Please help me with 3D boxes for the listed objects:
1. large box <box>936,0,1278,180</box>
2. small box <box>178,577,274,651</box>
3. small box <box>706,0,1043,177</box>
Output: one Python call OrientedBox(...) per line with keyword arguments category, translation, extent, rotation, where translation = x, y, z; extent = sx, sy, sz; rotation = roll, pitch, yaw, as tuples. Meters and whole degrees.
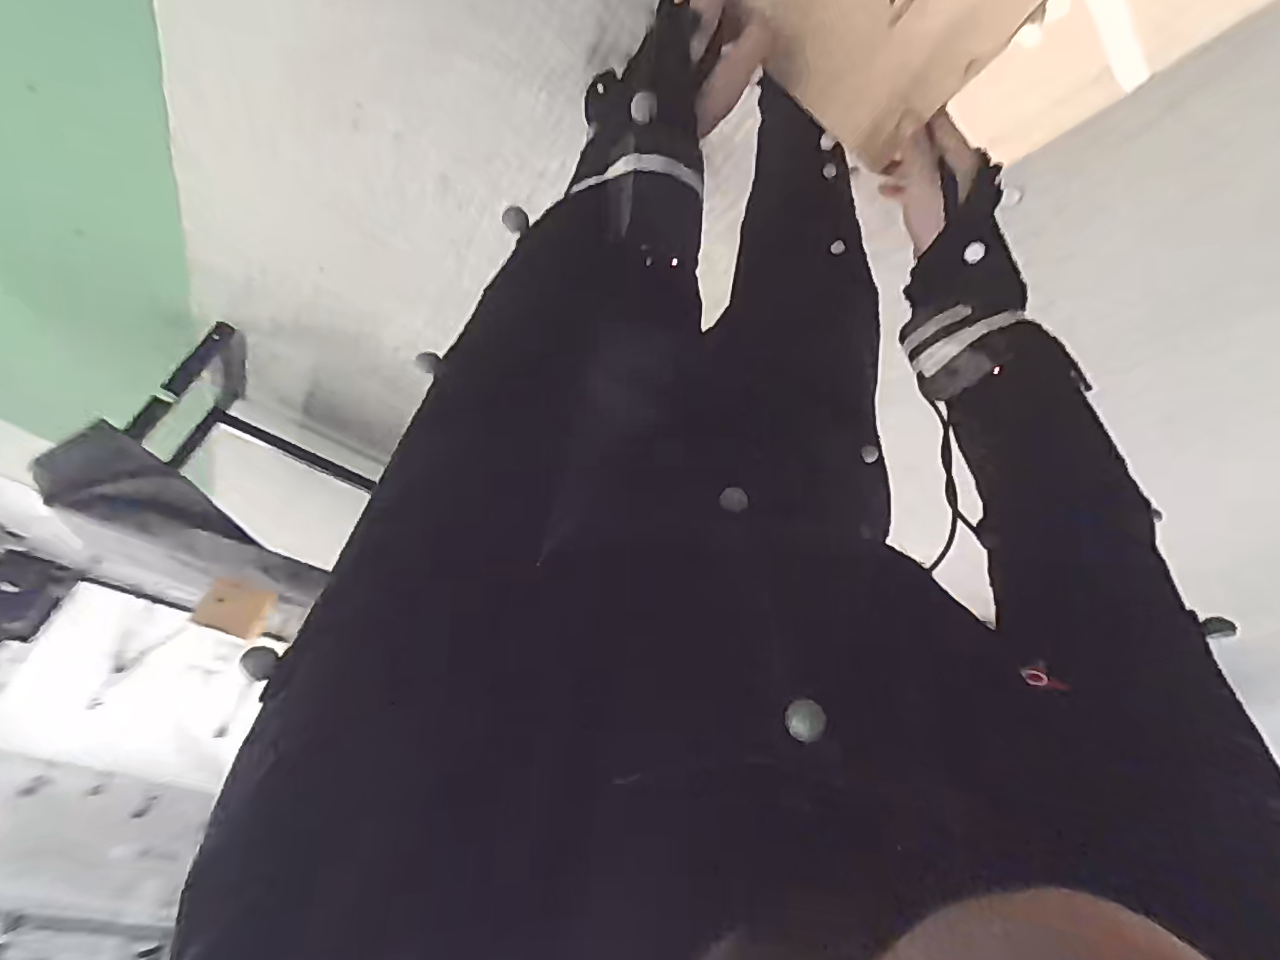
OrientedBox(category="large box", translation=(0.404, -0.631, 0.548), extent=(0.408, 0.320, 0.320), rotation=(33, 145, -29))
OrientedBox(category="small box", translation=(-1.275, 0.415, 1.678), extent=(0.168, 0.176, 0.179), rotation=(27, 148, -17))
OrientedBox(category="small box", translation=(0.160, -0.373, 0.392), extent=(0.179, 0.176, 0.168), rotation=(22, 137, -24))
